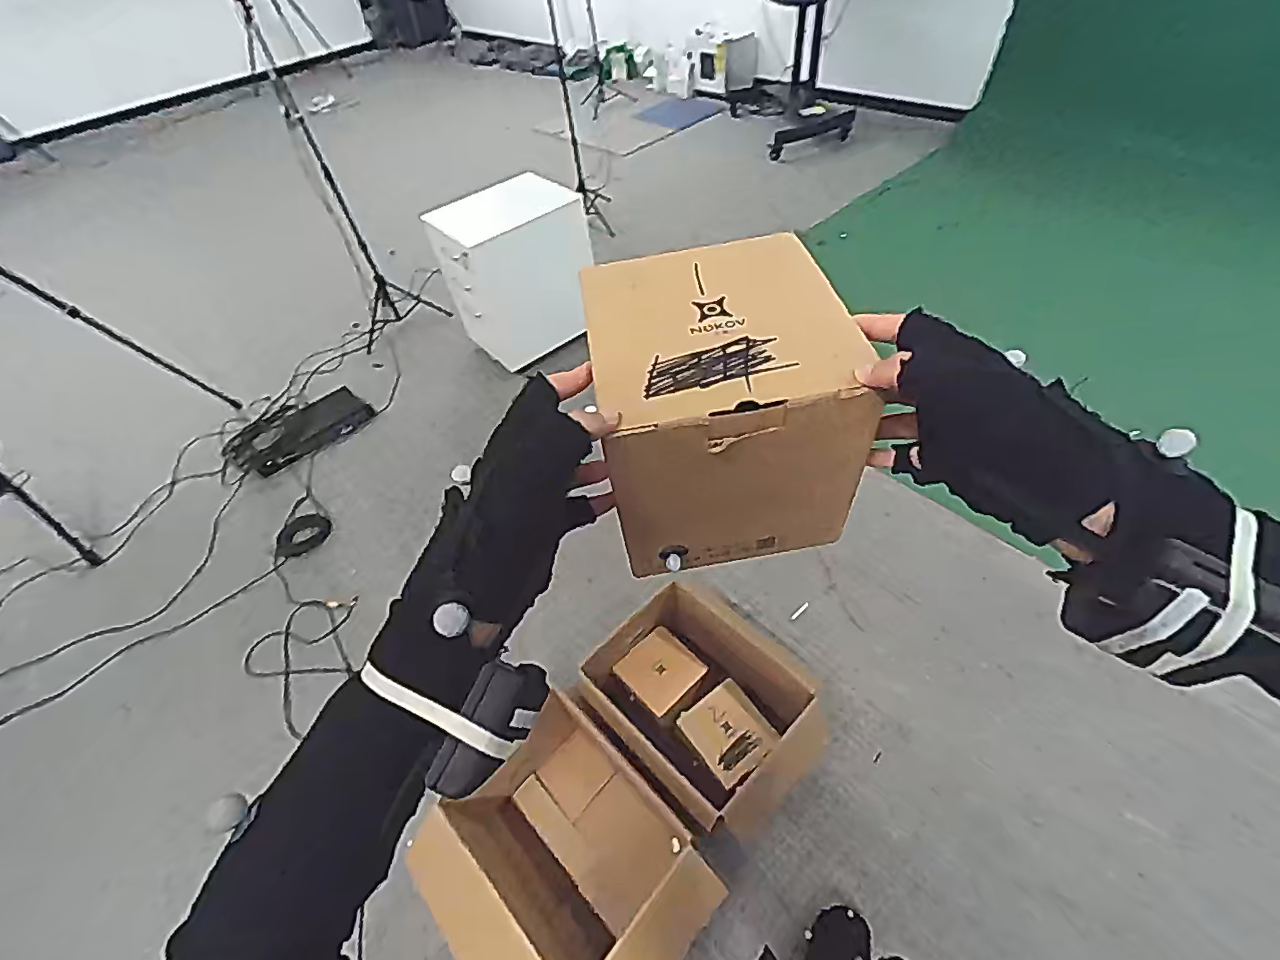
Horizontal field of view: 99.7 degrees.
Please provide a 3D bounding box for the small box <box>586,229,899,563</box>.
[{"bbox_3d":[0.060,-0.053,0.404,0.168,0.176,0.179,-10,50,0],"label":"small box"}]
